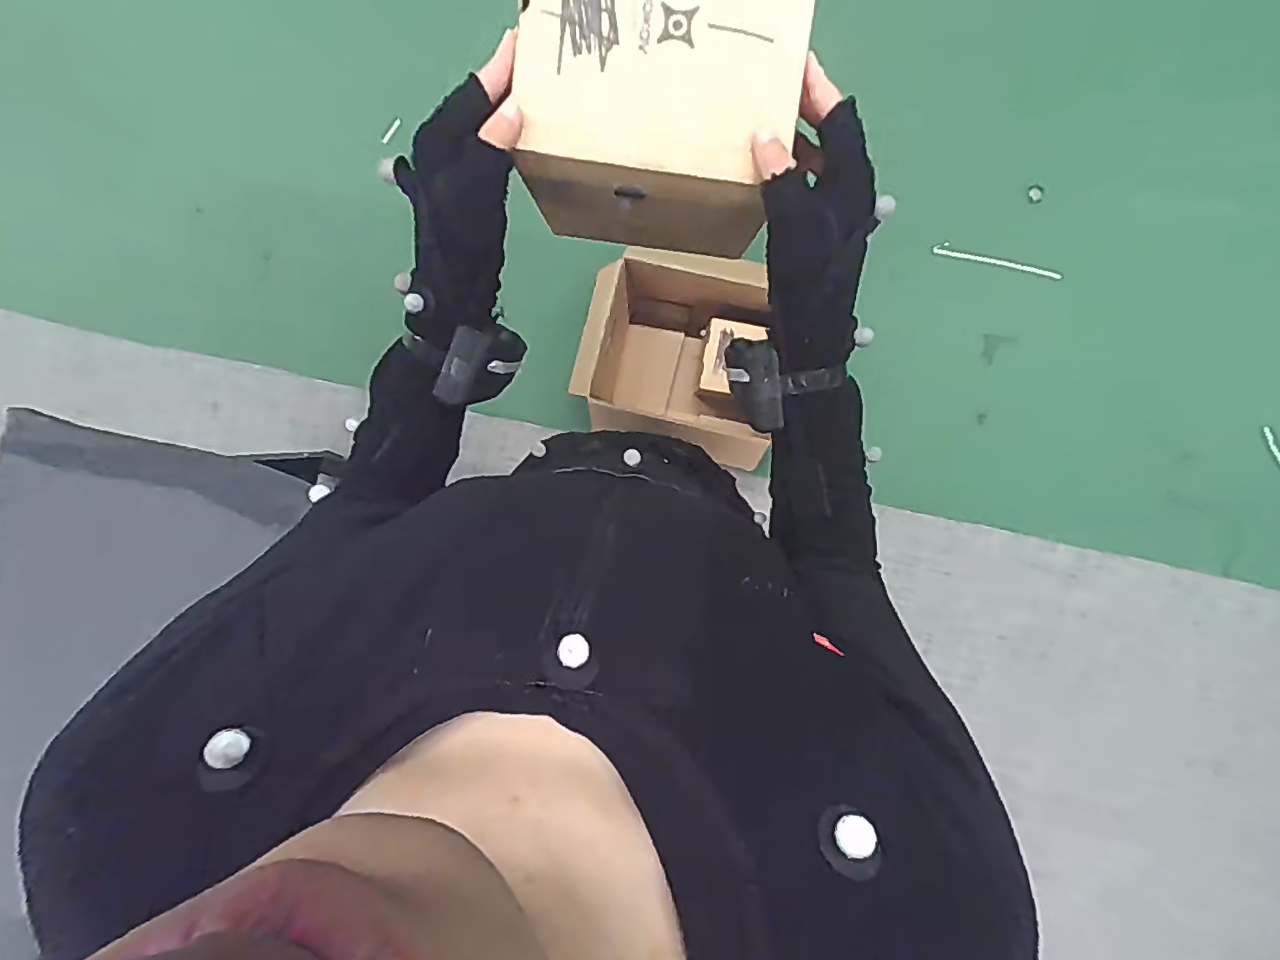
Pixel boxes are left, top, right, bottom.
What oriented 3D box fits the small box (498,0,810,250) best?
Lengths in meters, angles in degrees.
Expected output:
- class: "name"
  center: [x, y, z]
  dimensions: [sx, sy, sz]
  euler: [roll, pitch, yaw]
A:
- class: "small box"
  center: [0.012, -0.281, 0.393]
  dimensions: [0.179, 0.176, 0.168]
  euler: [7, 99, -1]
